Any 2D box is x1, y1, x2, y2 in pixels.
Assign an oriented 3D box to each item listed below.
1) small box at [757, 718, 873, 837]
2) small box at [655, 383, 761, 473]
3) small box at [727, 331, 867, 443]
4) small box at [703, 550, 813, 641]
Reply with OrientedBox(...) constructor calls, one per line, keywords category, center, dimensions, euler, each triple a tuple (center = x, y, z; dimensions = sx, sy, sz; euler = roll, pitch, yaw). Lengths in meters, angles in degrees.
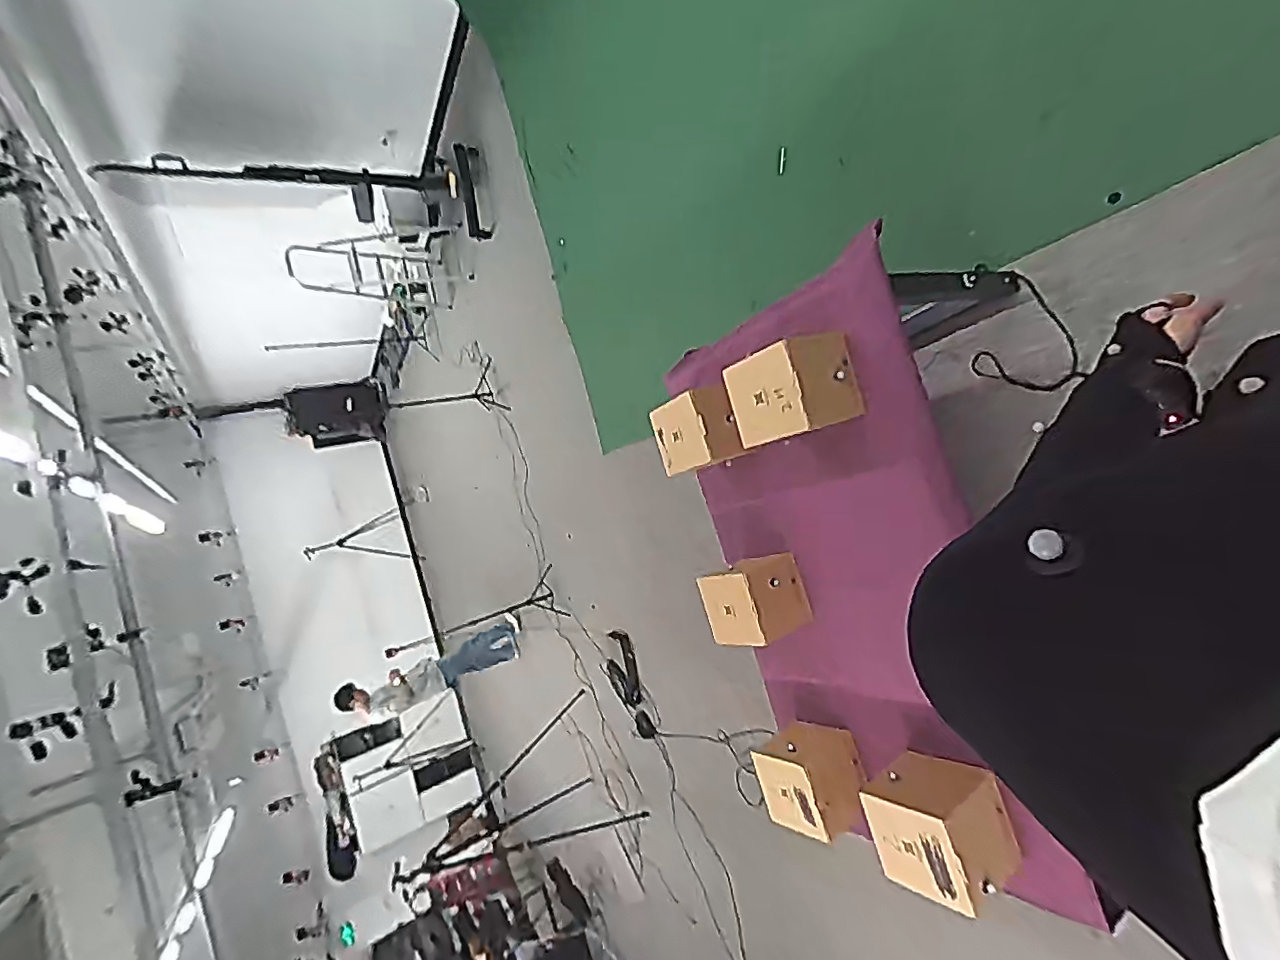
OrientedBox(category="small box", center=(0.411, 0.675, 1.253), dimensions=(0.179, 0.176, 0.168), euler=(-26, 80, 58))
OrientedBox(category="small box", center=(0.170, -0.128, 1.302), dimensions=(0.179, 0.176, 0.168), euler=(-21, 85, 57))
OrientedBox(category="small box", center=(0.307, -0.181, 1.063), dimensions=(0.179, 0.176, 0.168), euler=(-17, 89, 58))
OrientedBox(category="small box", center=(0.286, 0.272, 1.288), dimensions=(0.179, 0.176, 0.168), euler=(-23, 82, 57))
